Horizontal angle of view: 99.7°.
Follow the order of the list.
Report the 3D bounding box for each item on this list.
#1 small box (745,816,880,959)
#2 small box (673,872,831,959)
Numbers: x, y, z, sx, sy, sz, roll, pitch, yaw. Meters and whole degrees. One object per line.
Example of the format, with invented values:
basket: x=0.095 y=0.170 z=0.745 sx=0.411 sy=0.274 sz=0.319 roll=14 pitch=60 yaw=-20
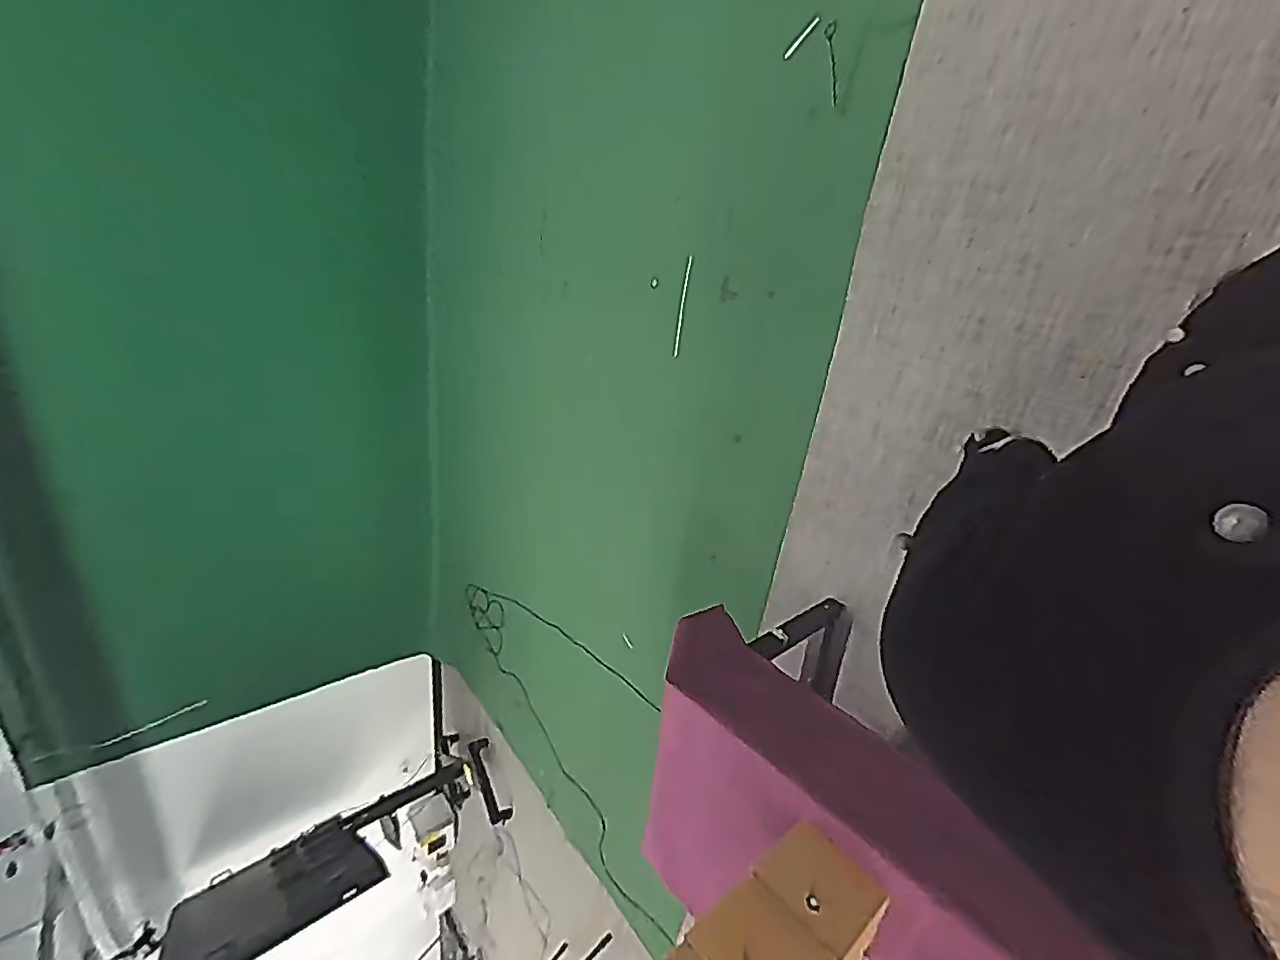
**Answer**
small box: x=0.298 y=0.756 z=0.968 sx=0.179 sy=0.176 sz=0.168 roll=28 pitch=120 yaw=43
small box: x=0.173 y=0.781 z=0.867 sx=0.179 sy=0.176 sz=0.168 roll=26 pitch=118 yaw=42
